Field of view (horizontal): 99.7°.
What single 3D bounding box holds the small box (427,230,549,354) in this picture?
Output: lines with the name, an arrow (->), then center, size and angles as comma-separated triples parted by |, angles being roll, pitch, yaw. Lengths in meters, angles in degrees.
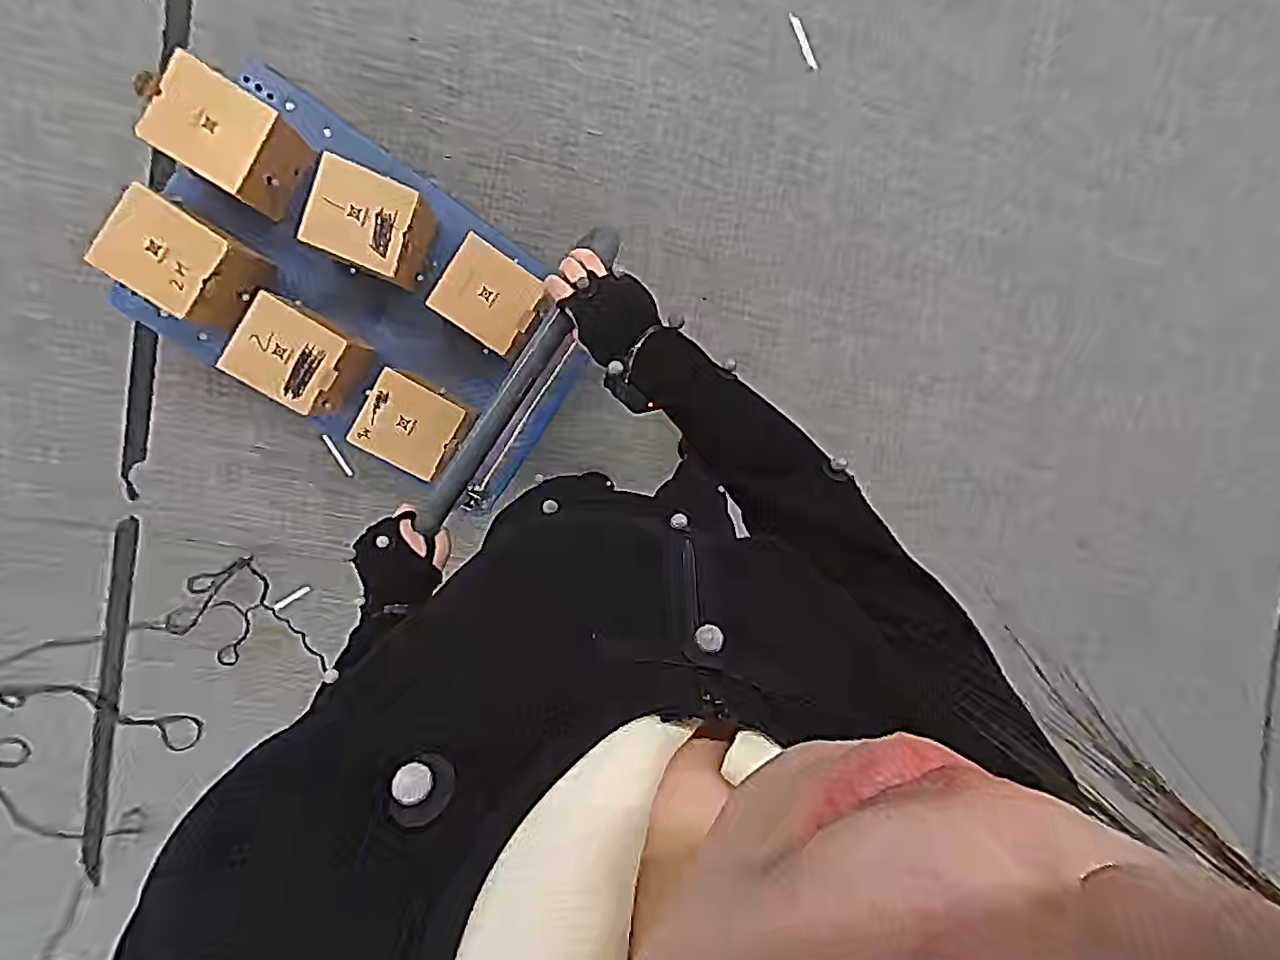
small box -> -0.305, -0.376, 1.122 | 0.179, 0.176, 0.168 | 33, 92, -12

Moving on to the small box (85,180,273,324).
small box -> -0.853, -0.414, 1.021 | 0.179, 0.176, 0.168 | 34, 92, -14

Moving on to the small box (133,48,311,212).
small box -> -0.757, -0.628, 1.004 | 0.179, 0.176, 0.168 | 30, 94, -13

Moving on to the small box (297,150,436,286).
small box -> -0.524, -0.499, 1.063 | 0.179, 0.176, 0.168 | 20, 95, -11

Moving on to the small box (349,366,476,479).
small box -> -0.463, -0.123, 1.134 | 0.179, 0.176, 0.168 | 29, 92, -13
